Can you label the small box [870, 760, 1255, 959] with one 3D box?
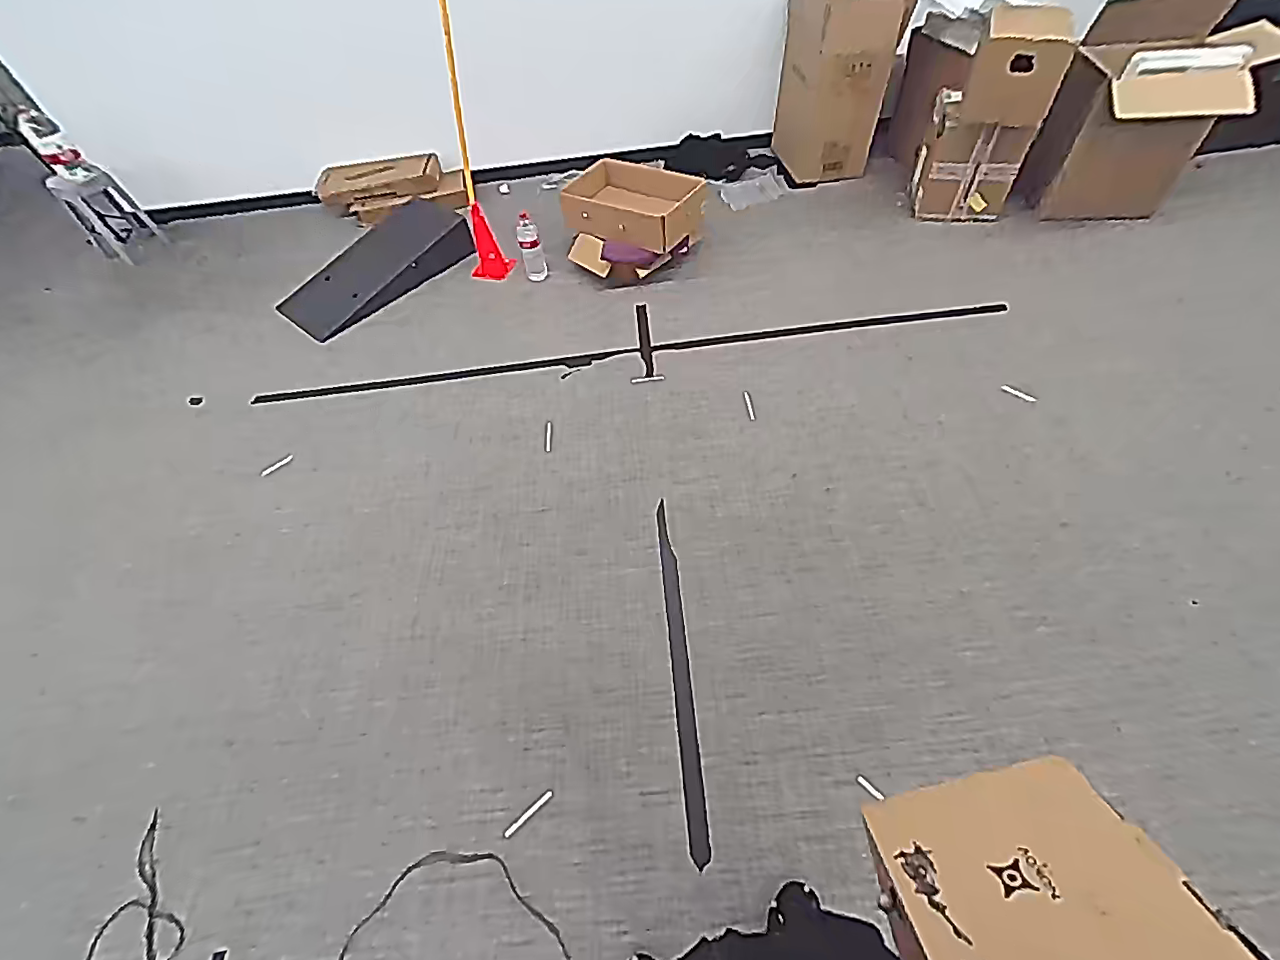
[{"bbox_3d":[0.304,0.359,0.414,0.179,0.176,0.168,-17,17,5],"label":"small box"}]
